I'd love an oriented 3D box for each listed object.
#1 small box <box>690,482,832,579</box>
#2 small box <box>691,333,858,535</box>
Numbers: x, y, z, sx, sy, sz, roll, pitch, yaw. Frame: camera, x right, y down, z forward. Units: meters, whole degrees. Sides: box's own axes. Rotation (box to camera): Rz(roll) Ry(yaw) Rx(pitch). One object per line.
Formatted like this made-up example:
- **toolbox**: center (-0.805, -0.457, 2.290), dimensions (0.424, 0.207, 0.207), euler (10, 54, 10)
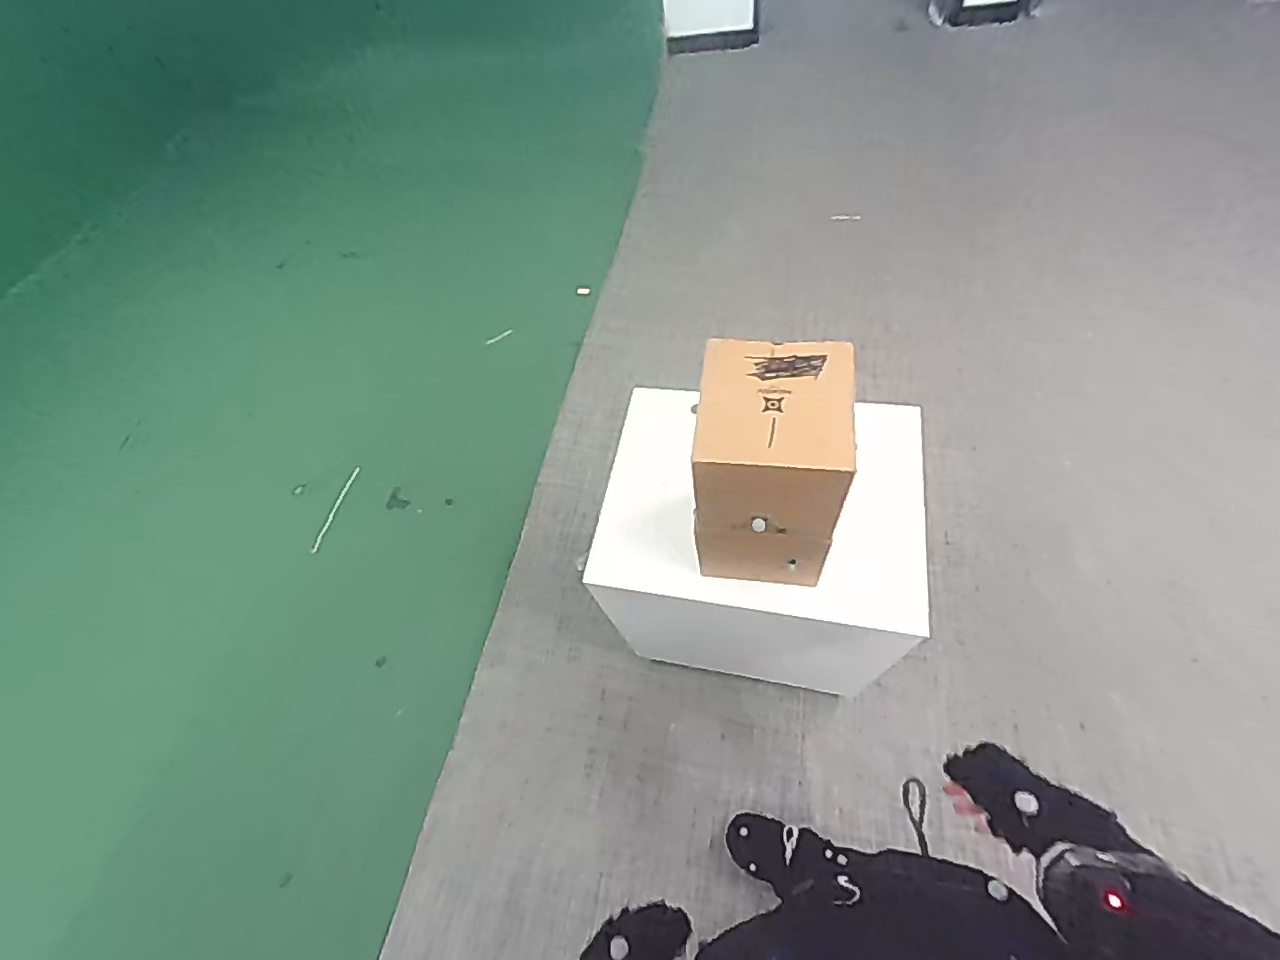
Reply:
- **small box**: center (0.175, 0.036, 0.782), dimensions (0.179, 0.176, 0.168), euler (2, 60, 14)
- **small box**: center (0.153, -0.052, 0.644), dimensions (0.168, 0.176, 0.179), euler (1, 59, 11)
